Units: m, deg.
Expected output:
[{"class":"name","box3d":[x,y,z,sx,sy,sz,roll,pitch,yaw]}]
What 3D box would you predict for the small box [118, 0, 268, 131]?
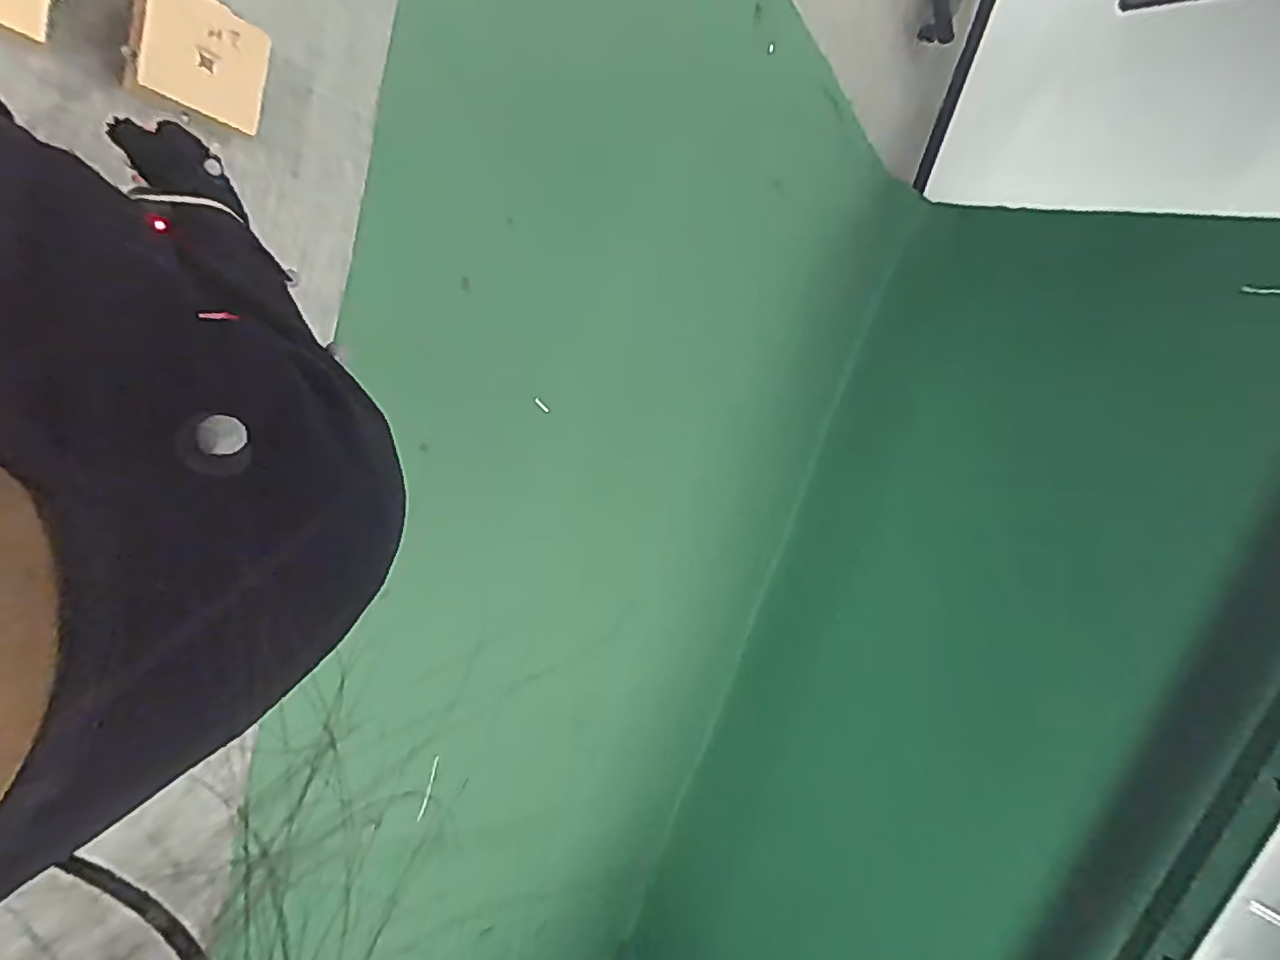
[{"class":"small box","box3d":[-0.792,-0.749,0.955,0.168,0.176,0.179,5,107,-52]}]
